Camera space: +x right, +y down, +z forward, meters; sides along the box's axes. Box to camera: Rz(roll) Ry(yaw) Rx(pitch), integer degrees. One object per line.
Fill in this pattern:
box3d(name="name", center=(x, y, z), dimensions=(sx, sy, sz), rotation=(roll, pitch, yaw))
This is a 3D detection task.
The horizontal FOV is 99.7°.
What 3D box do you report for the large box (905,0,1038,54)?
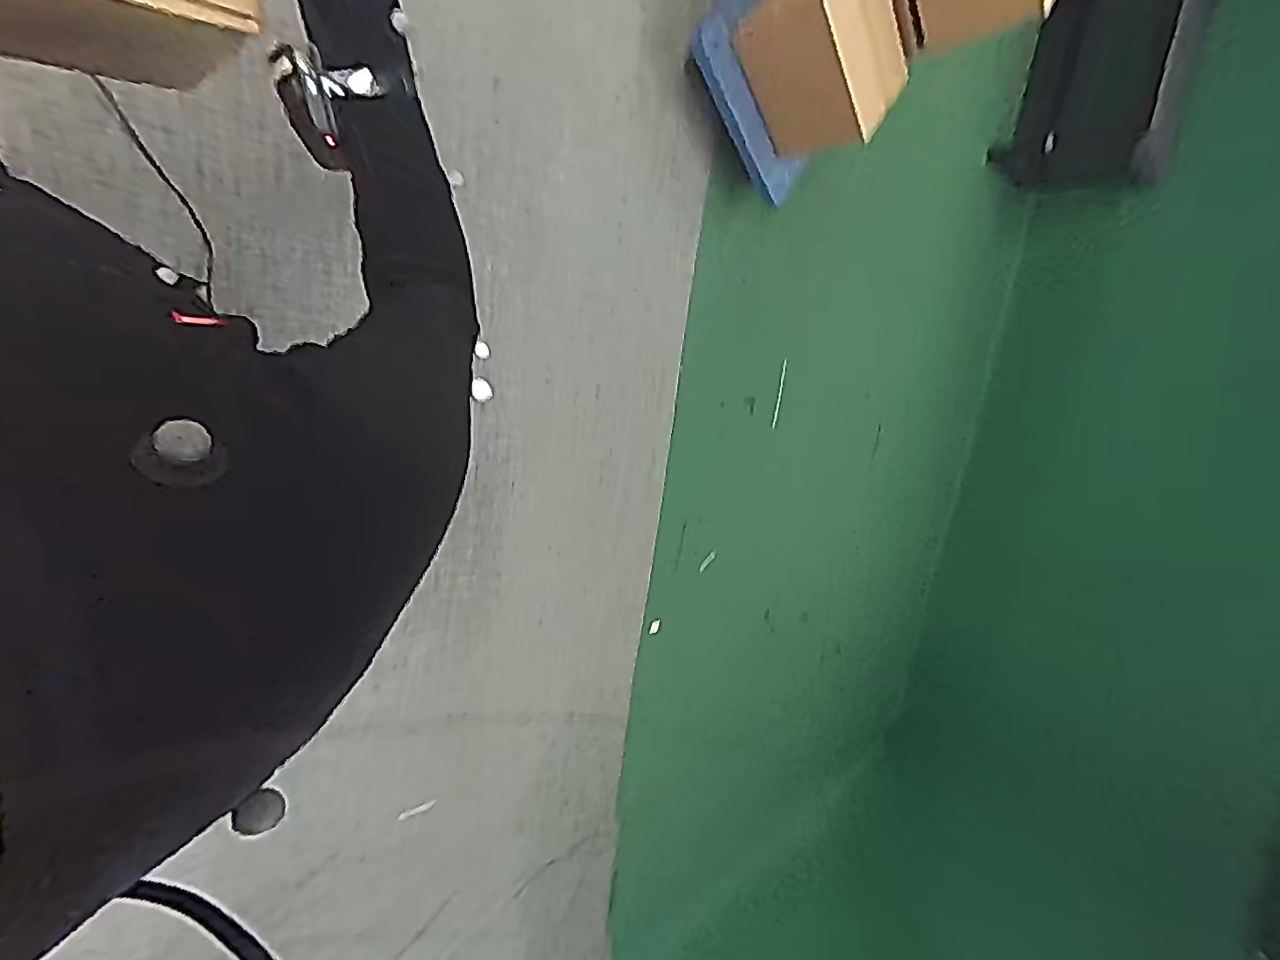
box3d(name="large box", center=(0.925, -1.533, 1.497), dimensions=(0.408, 0.320, 0.320), rotation=(41, 70, -42))
